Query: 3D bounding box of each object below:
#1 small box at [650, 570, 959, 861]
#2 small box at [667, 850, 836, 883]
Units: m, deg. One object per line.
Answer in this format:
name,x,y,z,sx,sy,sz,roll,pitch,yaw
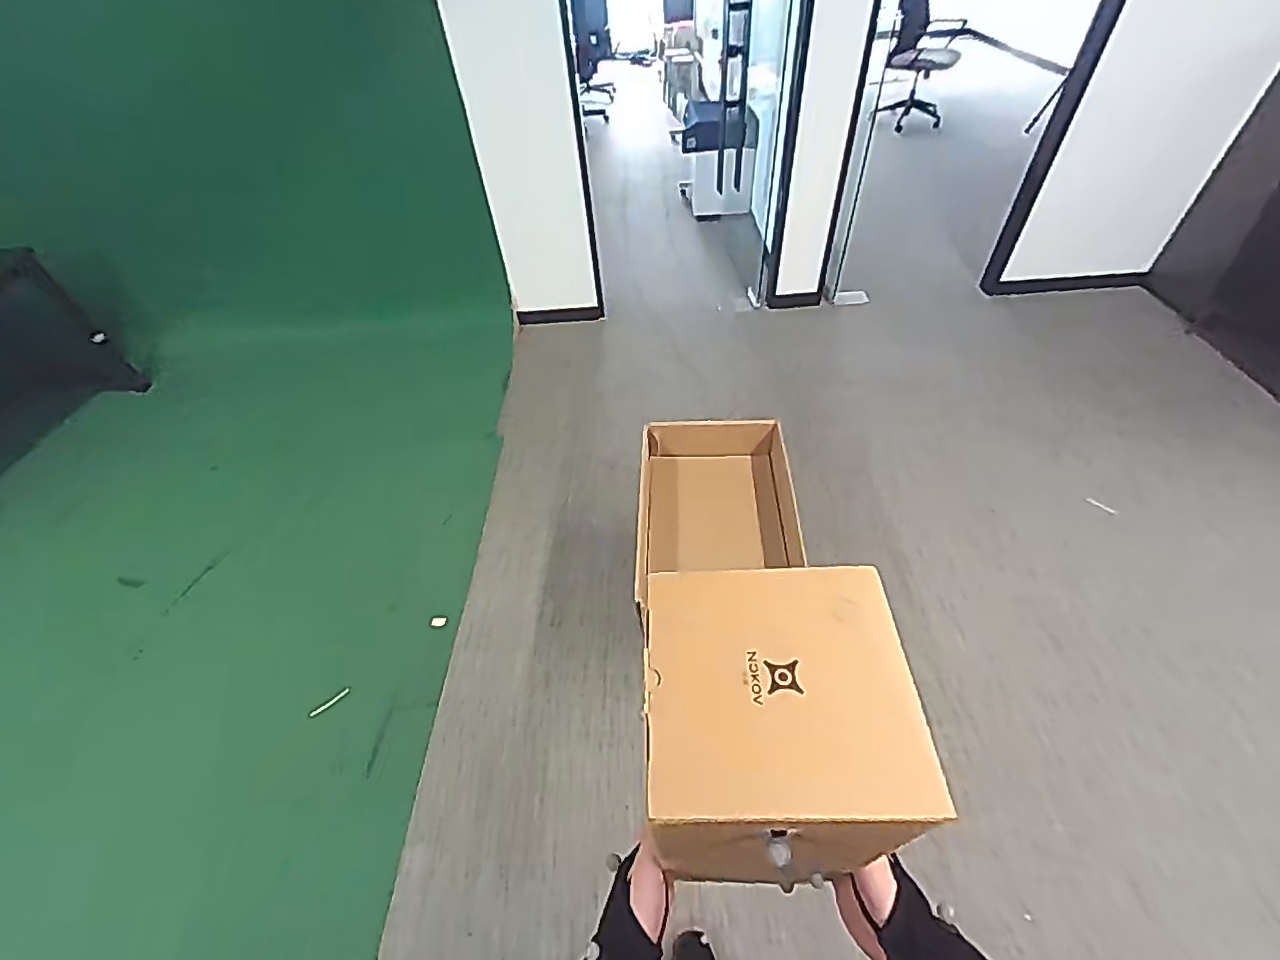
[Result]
small box,0.099,0.183,0.415,0.179,0.176,0.168,-3,49,4
small box,0.125,0.388,0.669,0.179,0.176,0.168,-2,49,5
